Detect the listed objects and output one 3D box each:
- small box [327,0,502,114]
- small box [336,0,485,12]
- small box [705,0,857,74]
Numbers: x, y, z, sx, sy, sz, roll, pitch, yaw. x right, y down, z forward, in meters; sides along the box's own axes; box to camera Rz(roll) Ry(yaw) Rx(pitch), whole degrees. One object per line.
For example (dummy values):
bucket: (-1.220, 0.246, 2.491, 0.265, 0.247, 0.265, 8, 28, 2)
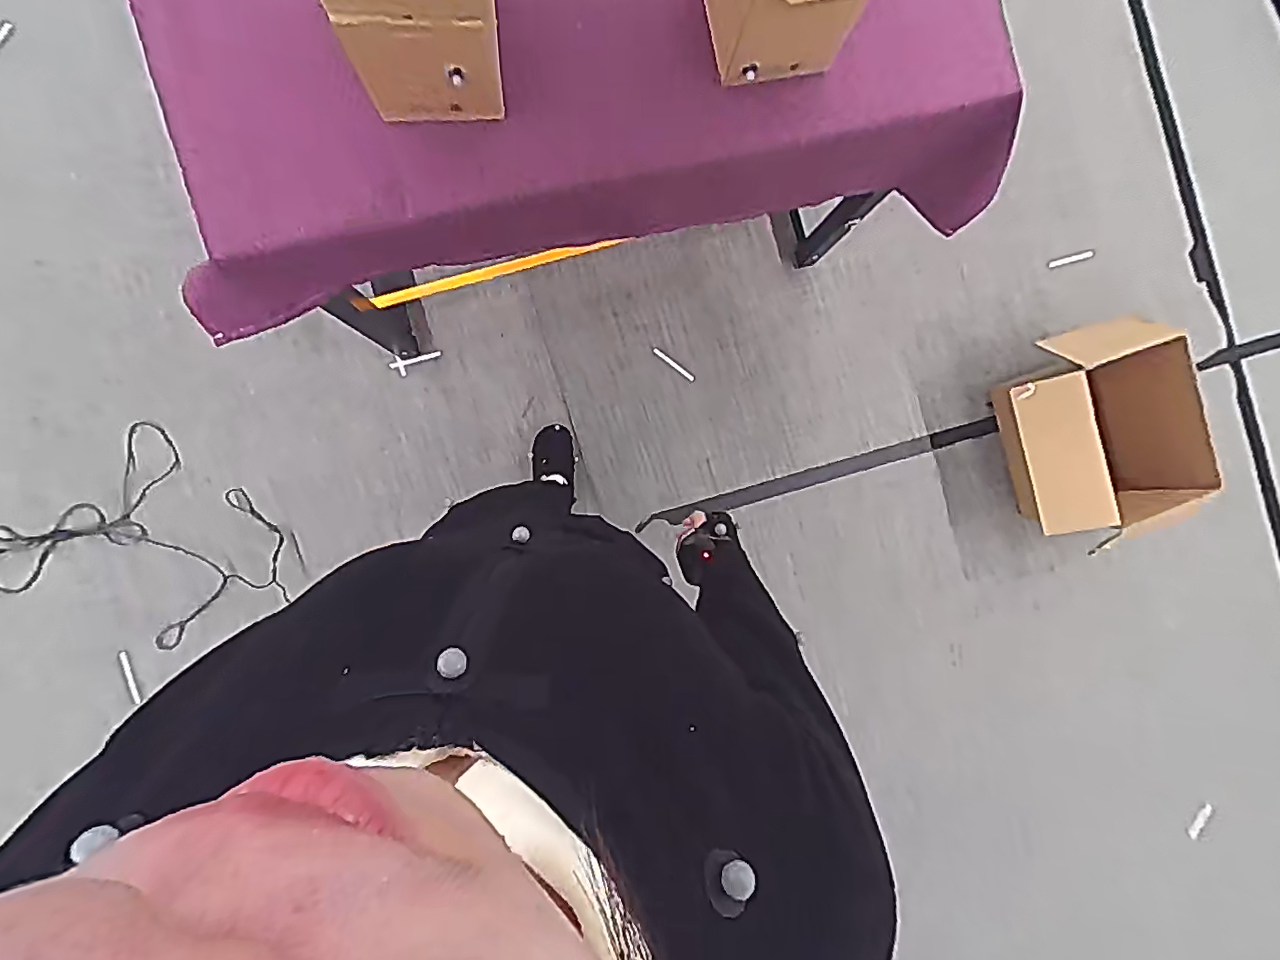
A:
small box: (-0.268, -0.585, 0.664, 0.168, 0.176, 0.179, -5, 91, -7)
small box: (-0.244, -0.586, 0.502, 0.179, 0.176, 0.168, -3, 92, -7)
small box: (0.186, -0.675, 0.709, 0.168, 0.176, 0.179, -13, 91, -6)
